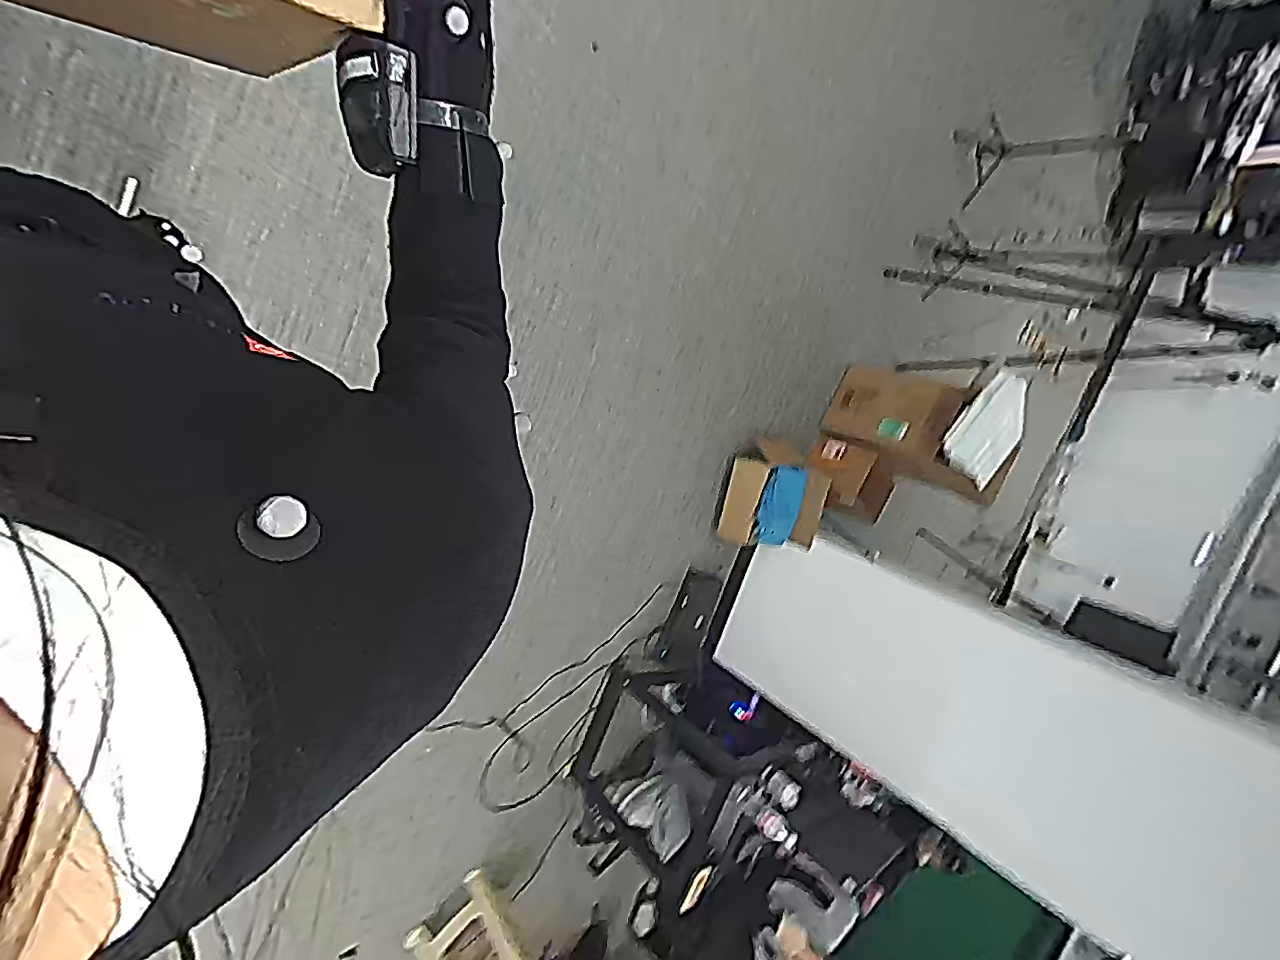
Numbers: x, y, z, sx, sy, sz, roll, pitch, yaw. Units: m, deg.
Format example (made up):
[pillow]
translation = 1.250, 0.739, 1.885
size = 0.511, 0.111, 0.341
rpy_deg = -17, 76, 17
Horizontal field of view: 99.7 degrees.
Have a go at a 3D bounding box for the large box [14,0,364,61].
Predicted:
[large box]
translation = -0.384, -0.431, 0.219
size = 0.408, 0.320, 0.320
rpy_deg = -13, 123, -42
